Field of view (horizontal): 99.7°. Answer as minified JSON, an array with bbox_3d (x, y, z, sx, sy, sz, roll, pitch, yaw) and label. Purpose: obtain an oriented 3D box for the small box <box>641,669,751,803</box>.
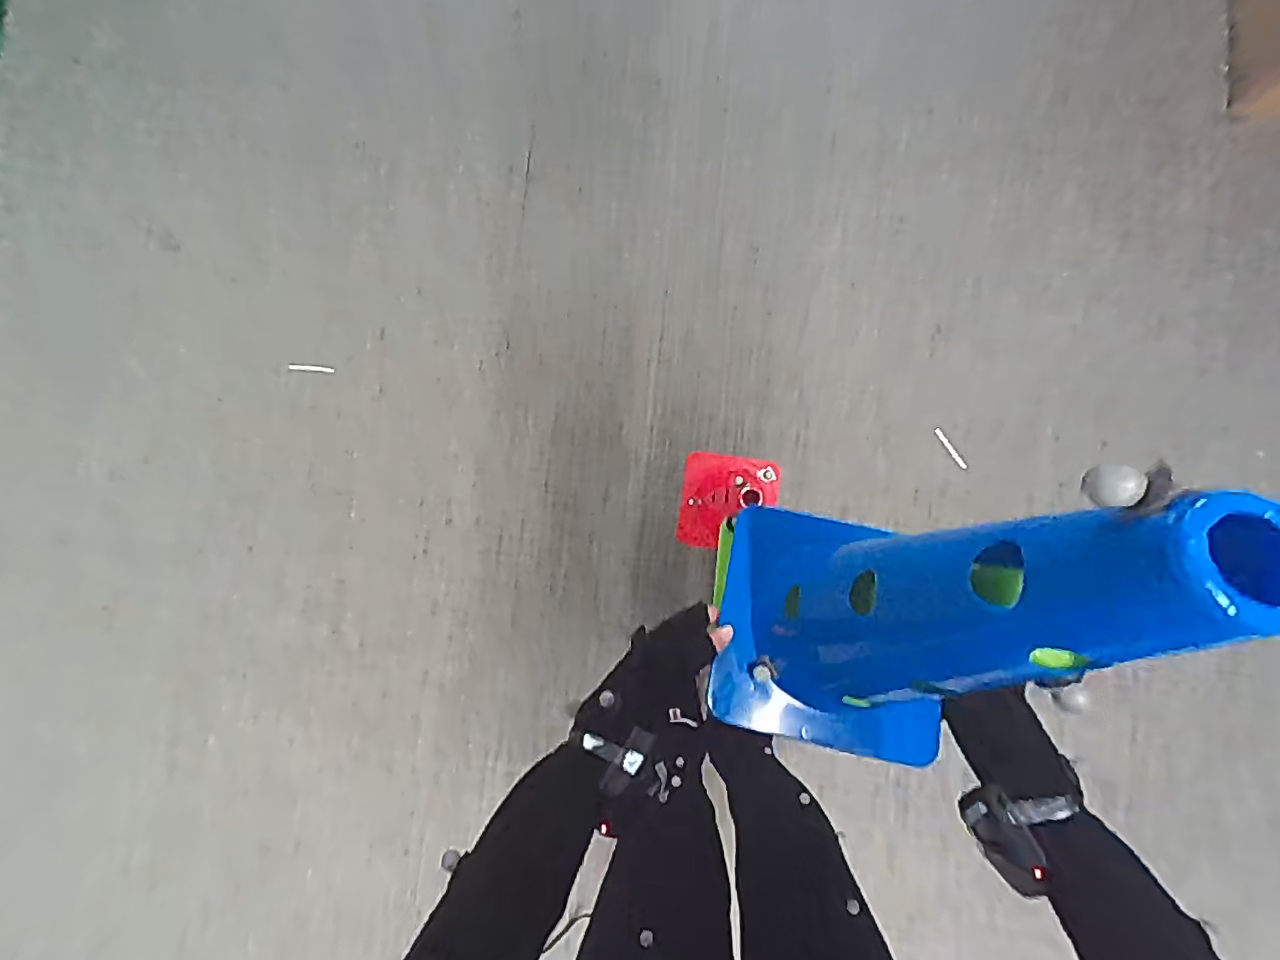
[{"bbox_3d":[0.103,0.502,1.078,0.168,0.176,0.179,12,89,-8],"label":"small box"}]
